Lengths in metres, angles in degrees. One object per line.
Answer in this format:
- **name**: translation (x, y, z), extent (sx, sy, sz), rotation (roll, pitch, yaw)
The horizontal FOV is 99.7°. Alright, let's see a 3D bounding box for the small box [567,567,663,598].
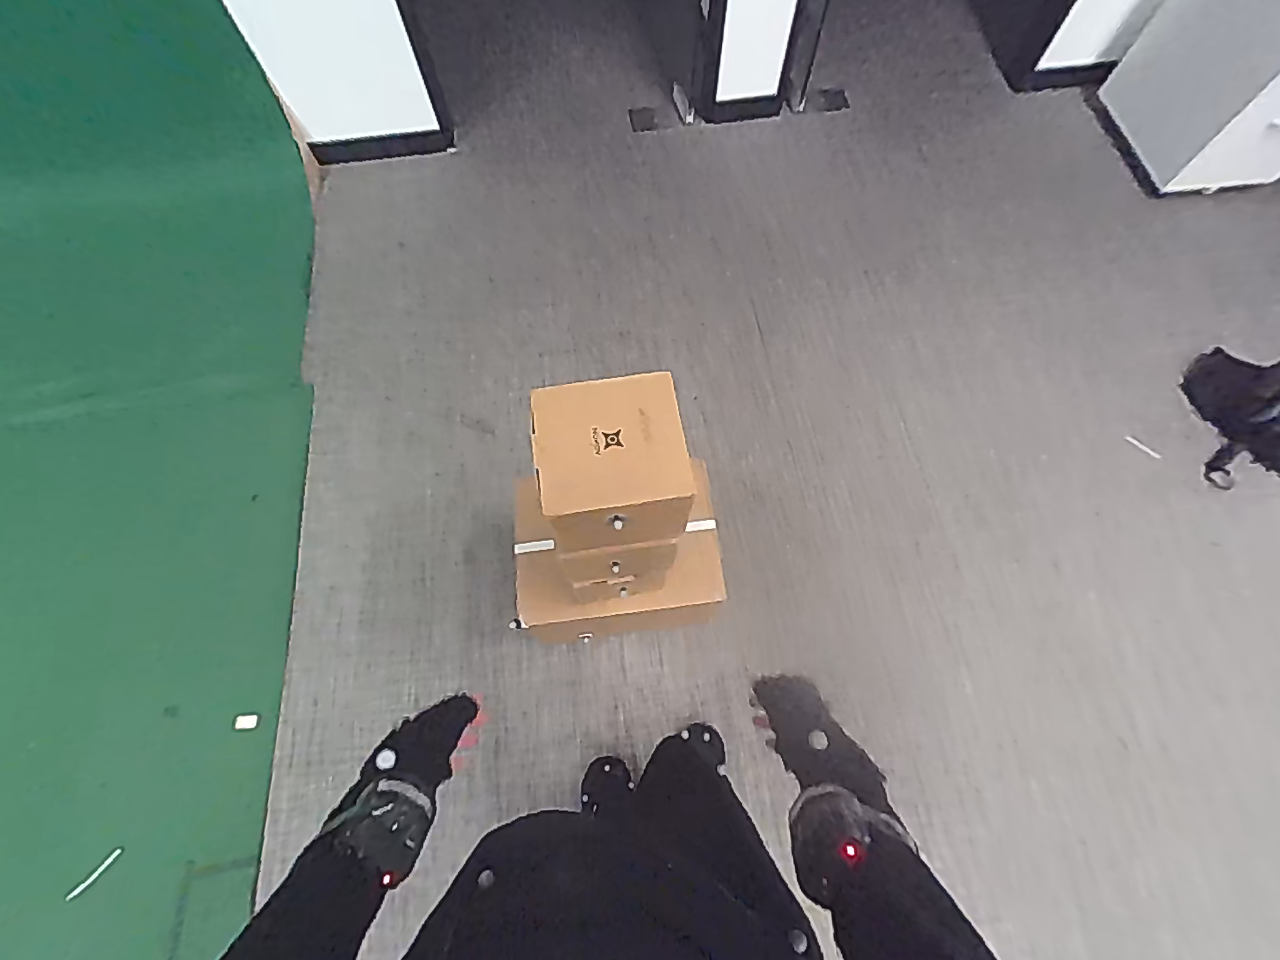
- **small box**: translation (-0.053, 0.116, 1.002), extent (0.168, 0.176, 0.179), rotation (-10, 69, -4)

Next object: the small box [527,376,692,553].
- **small box**: translation (-0.039, -0.011, 0.701), extent (0.179, 0.176, 0.168), rotation (-8, 70, -5)

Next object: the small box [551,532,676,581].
- **small box**: translation (-0.045, 0.056, 0.849), extent (0.179, 0.176, 0.168), rotation (-8, 68, -2)
